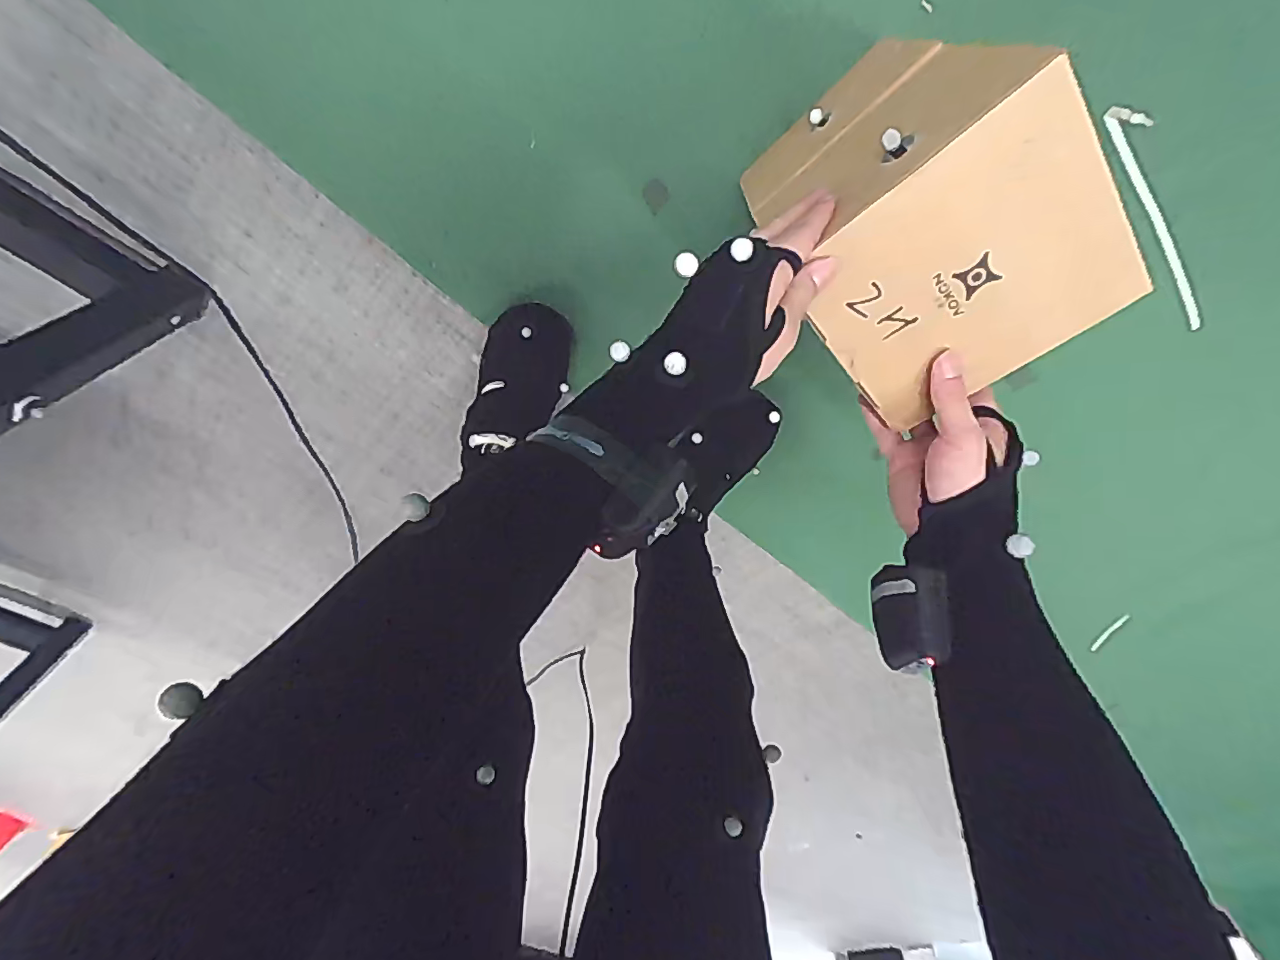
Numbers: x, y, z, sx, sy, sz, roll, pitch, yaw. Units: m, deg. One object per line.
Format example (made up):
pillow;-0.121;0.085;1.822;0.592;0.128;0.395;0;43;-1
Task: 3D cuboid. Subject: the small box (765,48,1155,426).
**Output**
small box;0.215;-0.182;0.408;0.179;0.176;0.168;-34;119;28
